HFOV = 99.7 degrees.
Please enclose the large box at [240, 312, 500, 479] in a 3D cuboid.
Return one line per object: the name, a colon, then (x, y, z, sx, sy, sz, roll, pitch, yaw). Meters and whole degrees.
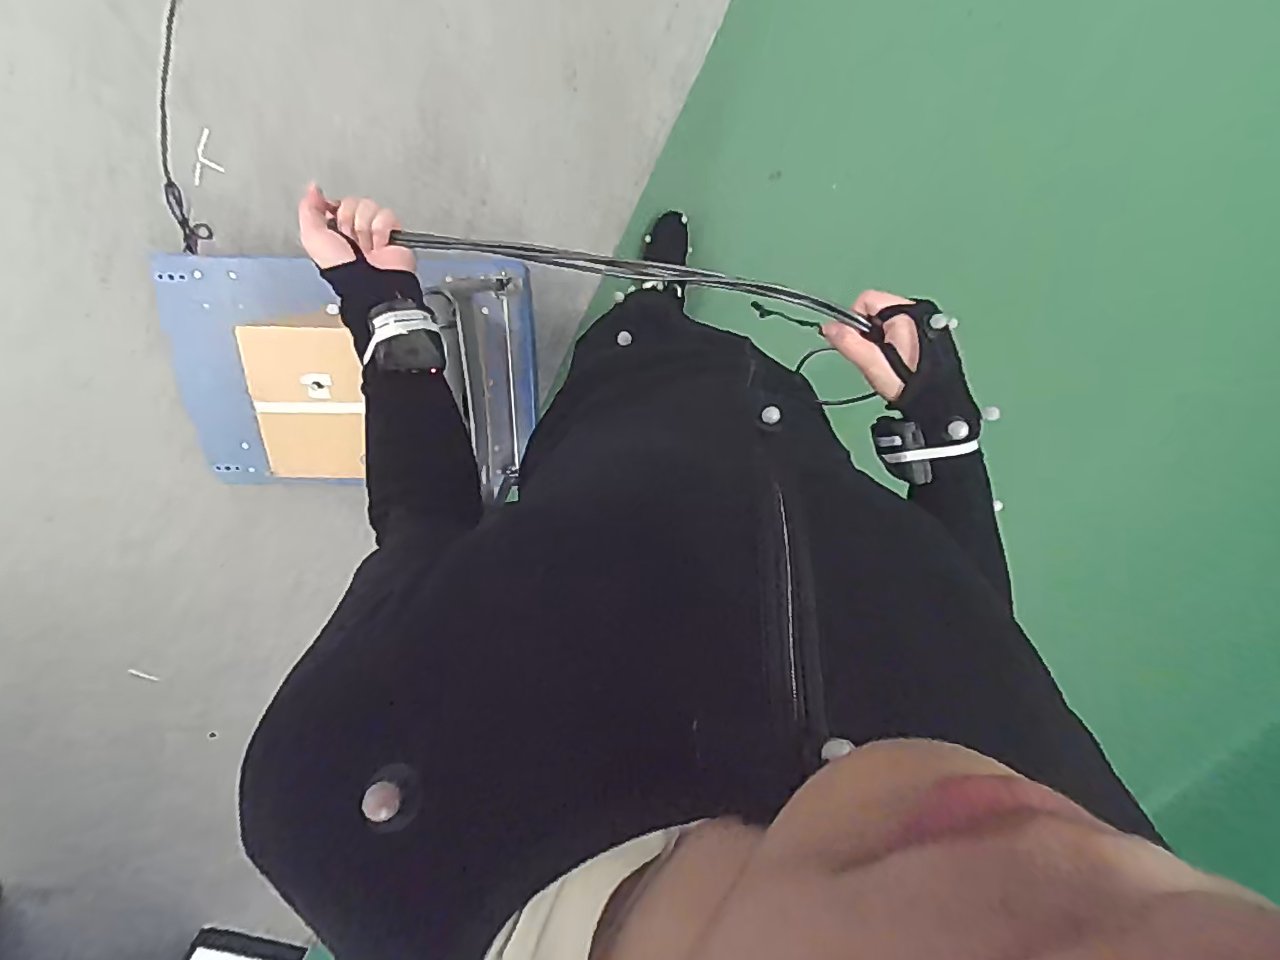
large box: (-0.560, -0.203, 1.215, 0.408, 0.320, 0.320, 1, 112, 0)
